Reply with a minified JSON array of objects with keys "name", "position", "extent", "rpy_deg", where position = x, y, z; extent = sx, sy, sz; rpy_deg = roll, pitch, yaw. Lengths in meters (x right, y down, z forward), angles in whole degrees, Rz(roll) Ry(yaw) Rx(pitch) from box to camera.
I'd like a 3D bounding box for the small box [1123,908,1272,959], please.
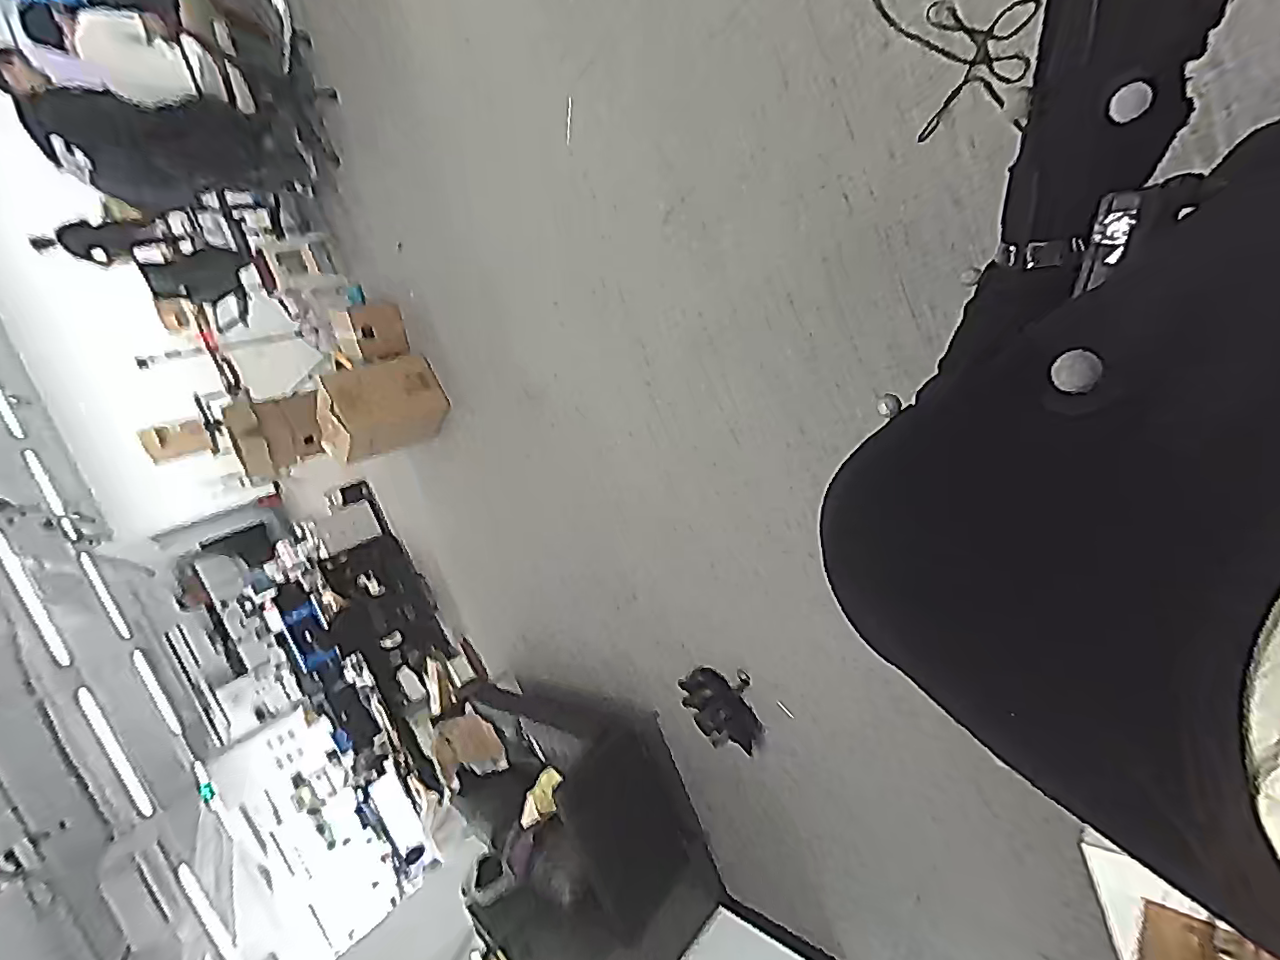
[{"name":"small box","position":[0.805,0.776,0.762],"extent":[0.168,0.176,0.179],"rpy_deg":[-8,103,49]}]
